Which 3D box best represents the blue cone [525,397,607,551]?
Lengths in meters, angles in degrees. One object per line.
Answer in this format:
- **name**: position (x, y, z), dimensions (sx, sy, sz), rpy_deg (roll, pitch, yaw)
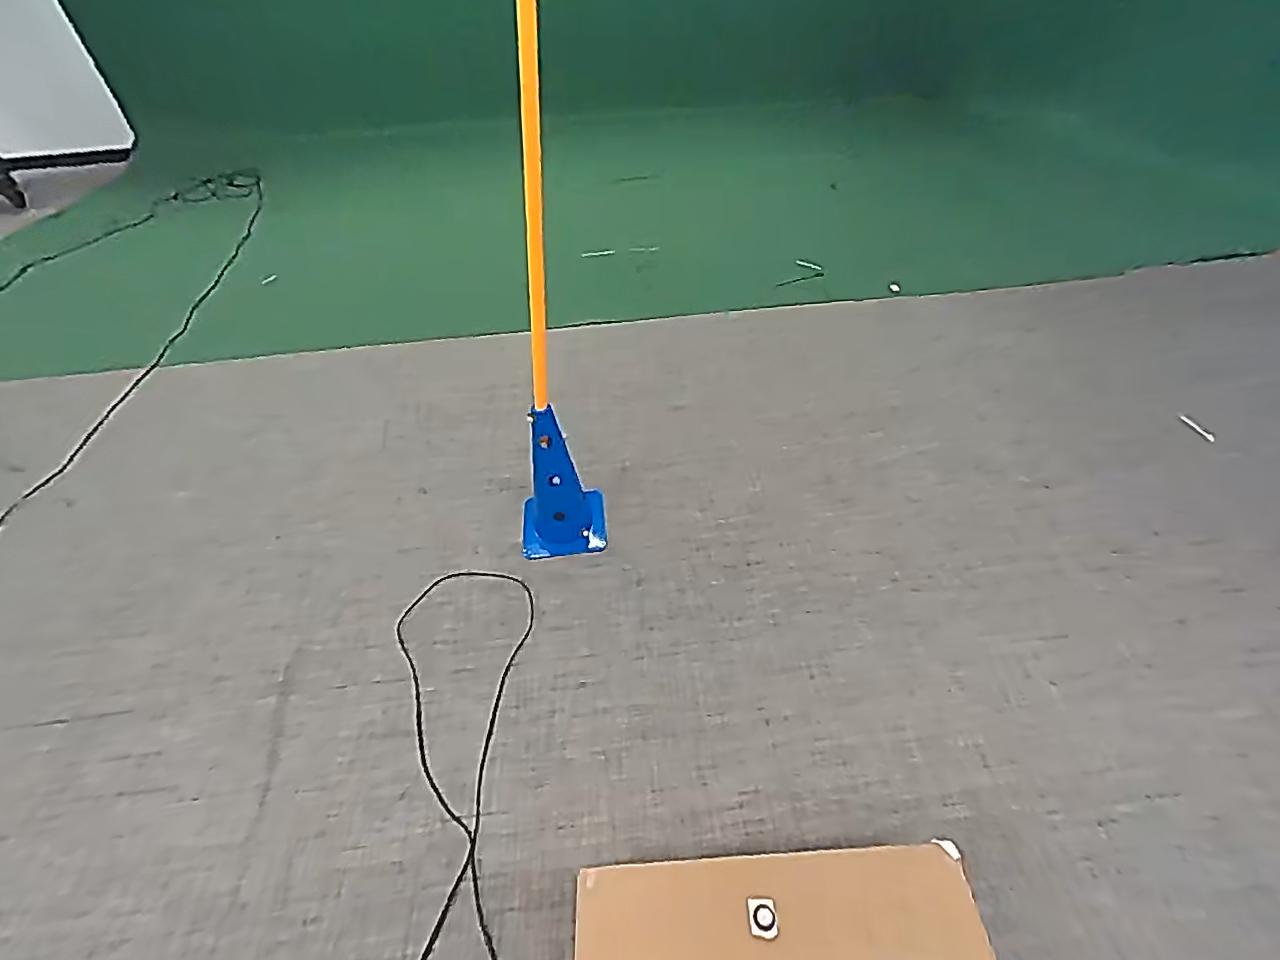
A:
- **blue cone**: position (-0.185, -0.028, 1.204), dimensions (0.193, 0.380, 0.192), rpy_deg (-7, 45, -6)
